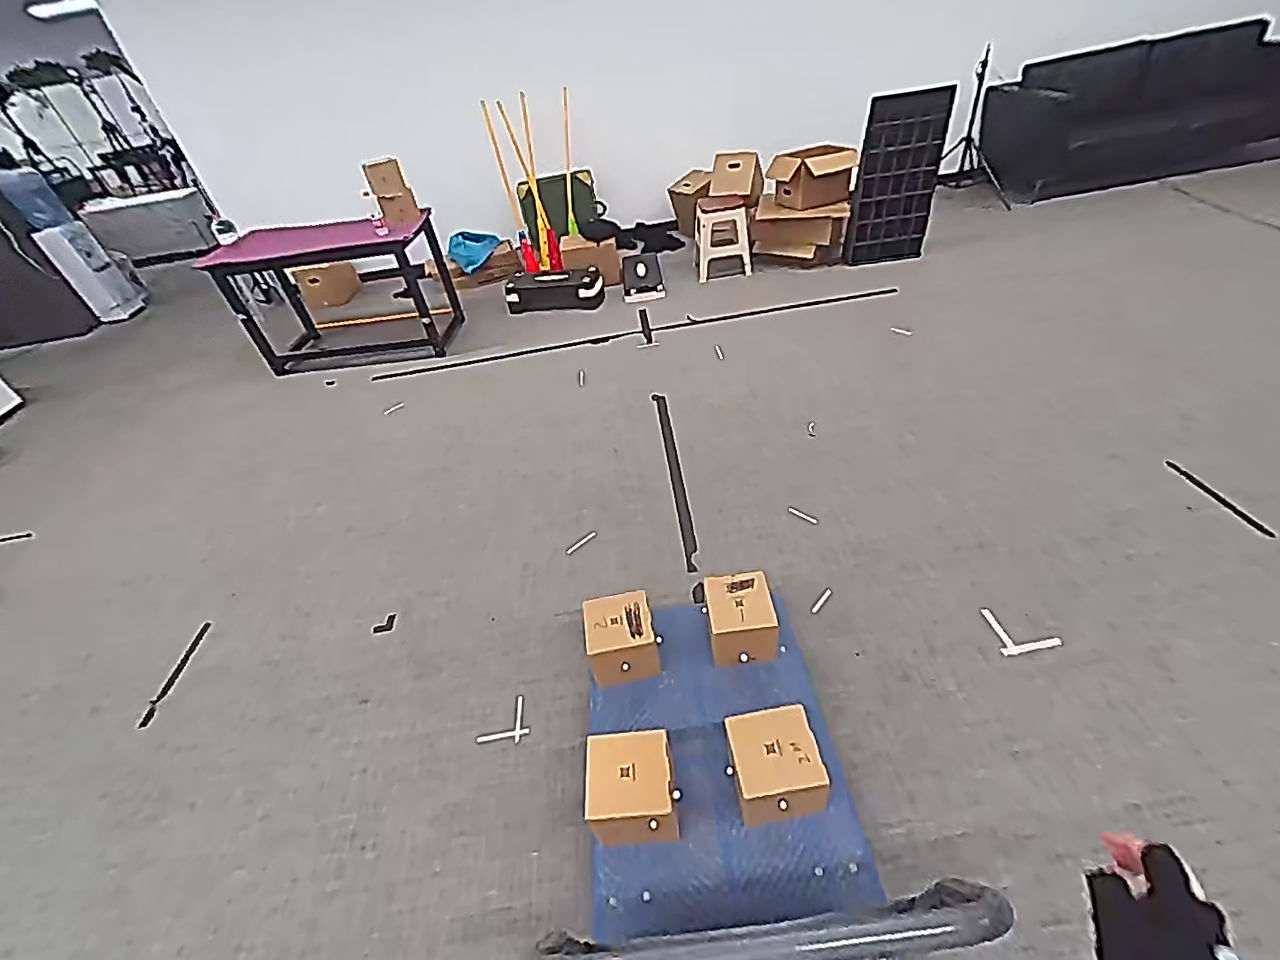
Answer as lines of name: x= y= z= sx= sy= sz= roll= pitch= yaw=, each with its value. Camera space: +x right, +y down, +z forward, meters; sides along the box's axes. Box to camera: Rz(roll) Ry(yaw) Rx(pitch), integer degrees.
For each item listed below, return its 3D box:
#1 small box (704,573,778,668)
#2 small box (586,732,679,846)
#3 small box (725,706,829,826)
small box: x=0.267 y=0.377 z=1.452 sx=0.168 sy=0.176 sz=0.179 roll=-8 pitch=42 yaw=2
small box: x=-0.014 y=0.672 z=1.173 sx=0.179 sy=0.176 sz=0.168 roll=-6 pitch=40 yaw=2
small box: x=0.291 y=0.621 z=1.169 sx=0.179 sy=0.176 sz=0.168 roll=-11 pitch=41 yaw=0
